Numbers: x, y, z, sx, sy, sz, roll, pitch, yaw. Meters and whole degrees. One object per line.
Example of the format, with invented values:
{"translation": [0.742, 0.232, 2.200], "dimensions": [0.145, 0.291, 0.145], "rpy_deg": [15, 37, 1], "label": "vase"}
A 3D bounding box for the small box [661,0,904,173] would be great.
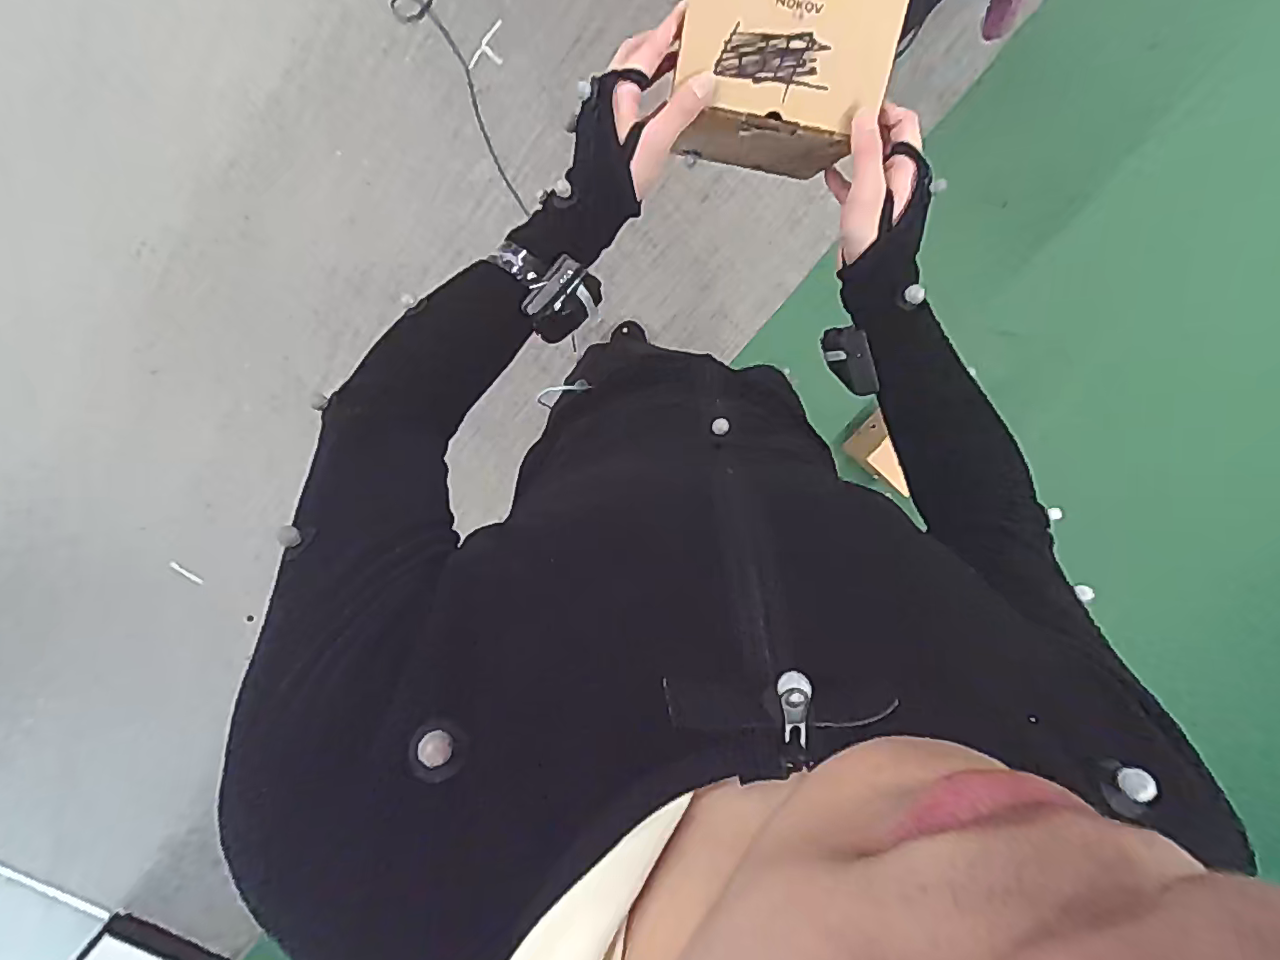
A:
{"translation": [0.113, -0.389, 0.472], "dimensions": [0.168, 0.176, 0.179], "rpy_deg": [8, 108, -5], "label": "small box"}

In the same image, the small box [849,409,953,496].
{"translation": [0.746, -0.087, 1.563], "dimensions": [0.179, 0.176, 0.168], "rpy_deg": [39, 101, -11], "label": "small box"}
